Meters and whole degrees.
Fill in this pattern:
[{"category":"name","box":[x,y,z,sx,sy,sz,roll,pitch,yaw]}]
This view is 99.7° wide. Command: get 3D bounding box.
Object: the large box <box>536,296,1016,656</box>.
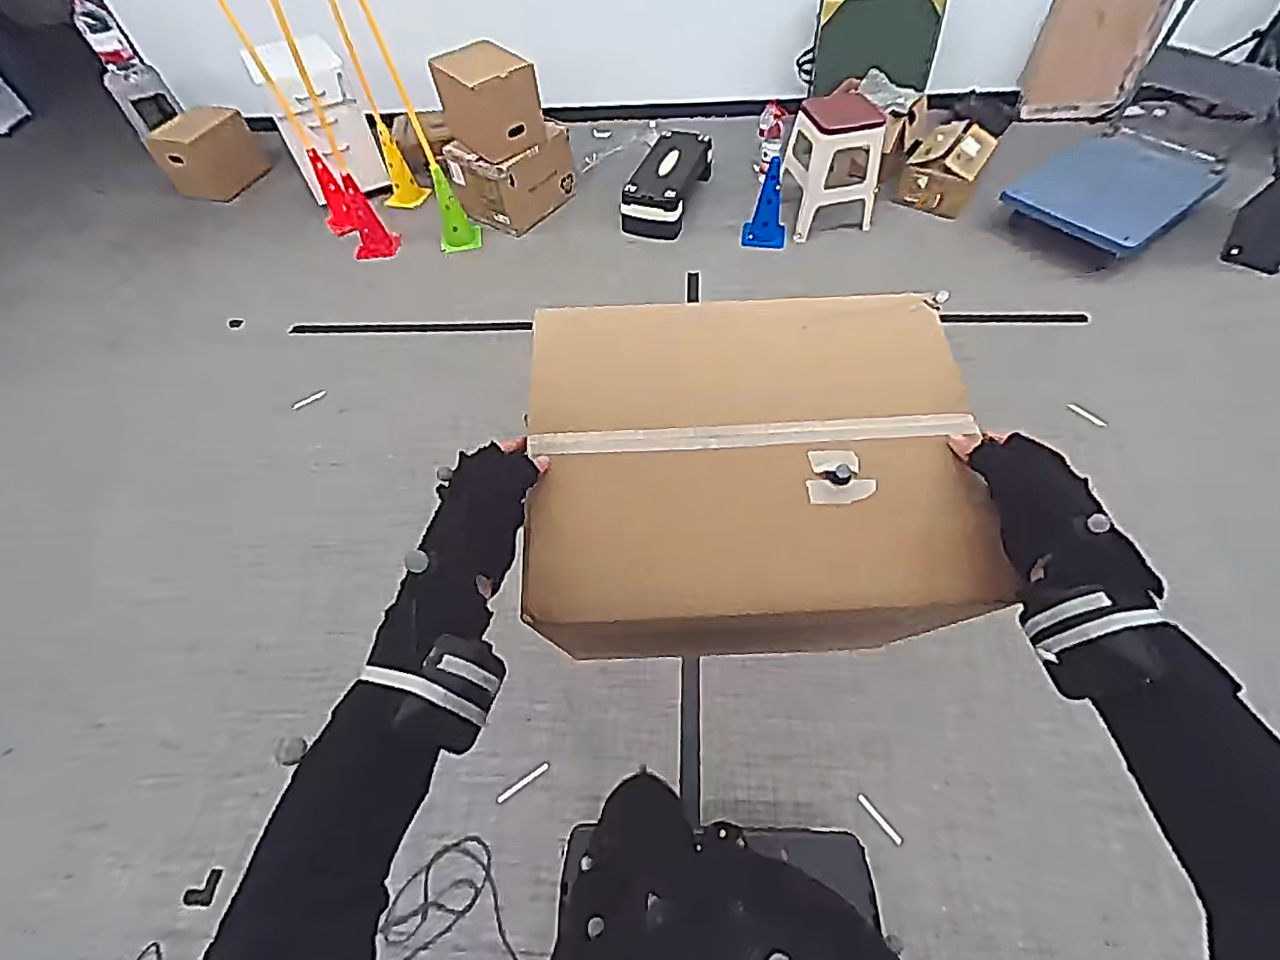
[{"category":"large box","box":[0.103,0.019,0.633,0.408,0.320,0.320,-3,67,-1]}]
